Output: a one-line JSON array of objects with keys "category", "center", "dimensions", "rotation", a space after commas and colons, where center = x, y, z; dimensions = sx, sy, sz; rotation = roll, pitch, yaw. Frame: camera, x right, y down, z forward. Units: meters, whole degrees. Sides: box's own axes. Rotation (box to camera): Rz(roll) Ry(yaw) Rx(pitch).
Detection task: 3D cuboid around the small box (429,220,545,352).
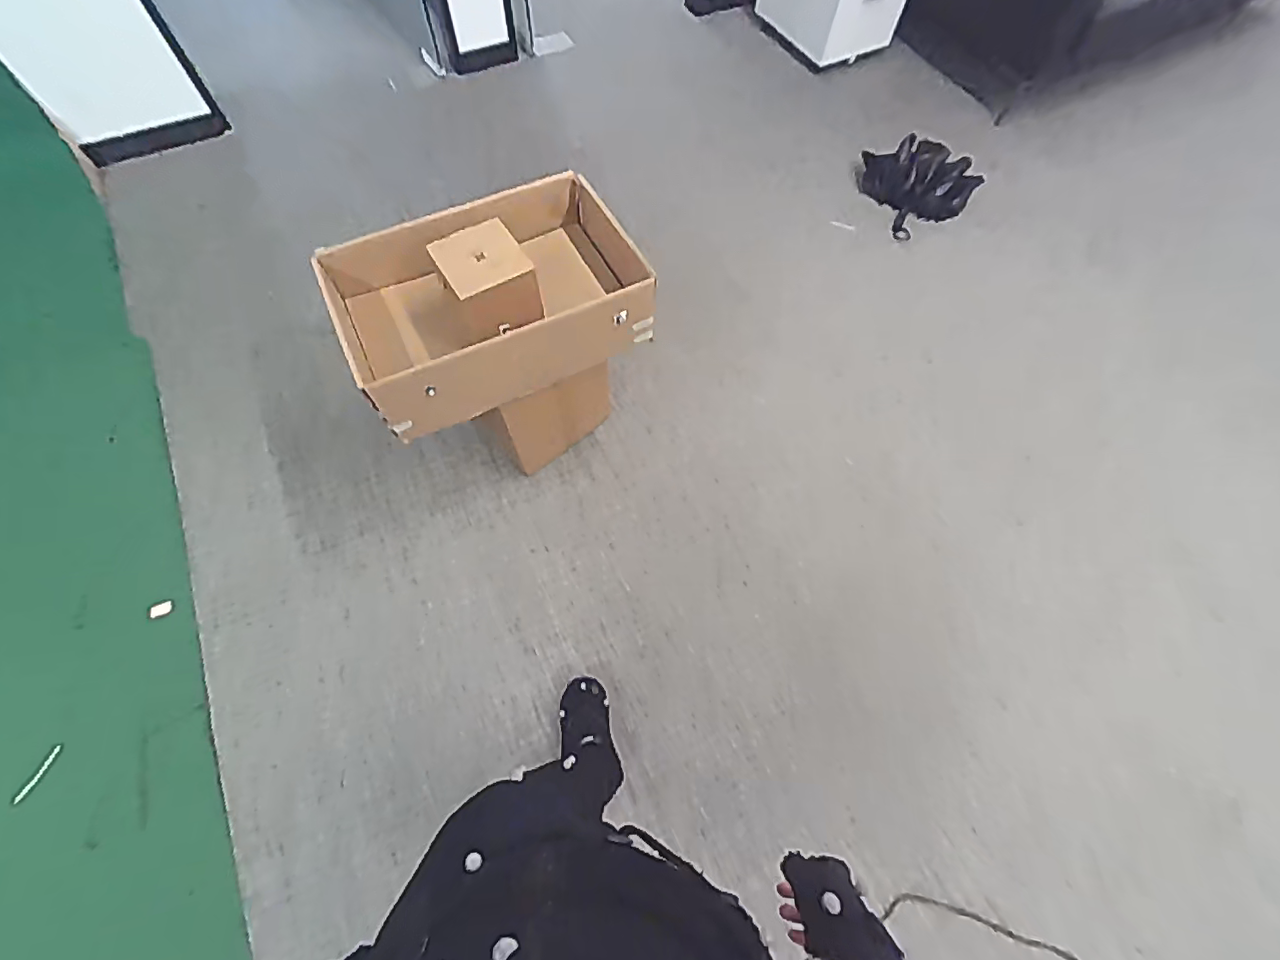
[{"category": "small box", "center": [-0.322, -0.412, 1.162], "dimensions": [0.168, 0.176, 0.179], "rotation": [-29, 68, -14]}]
